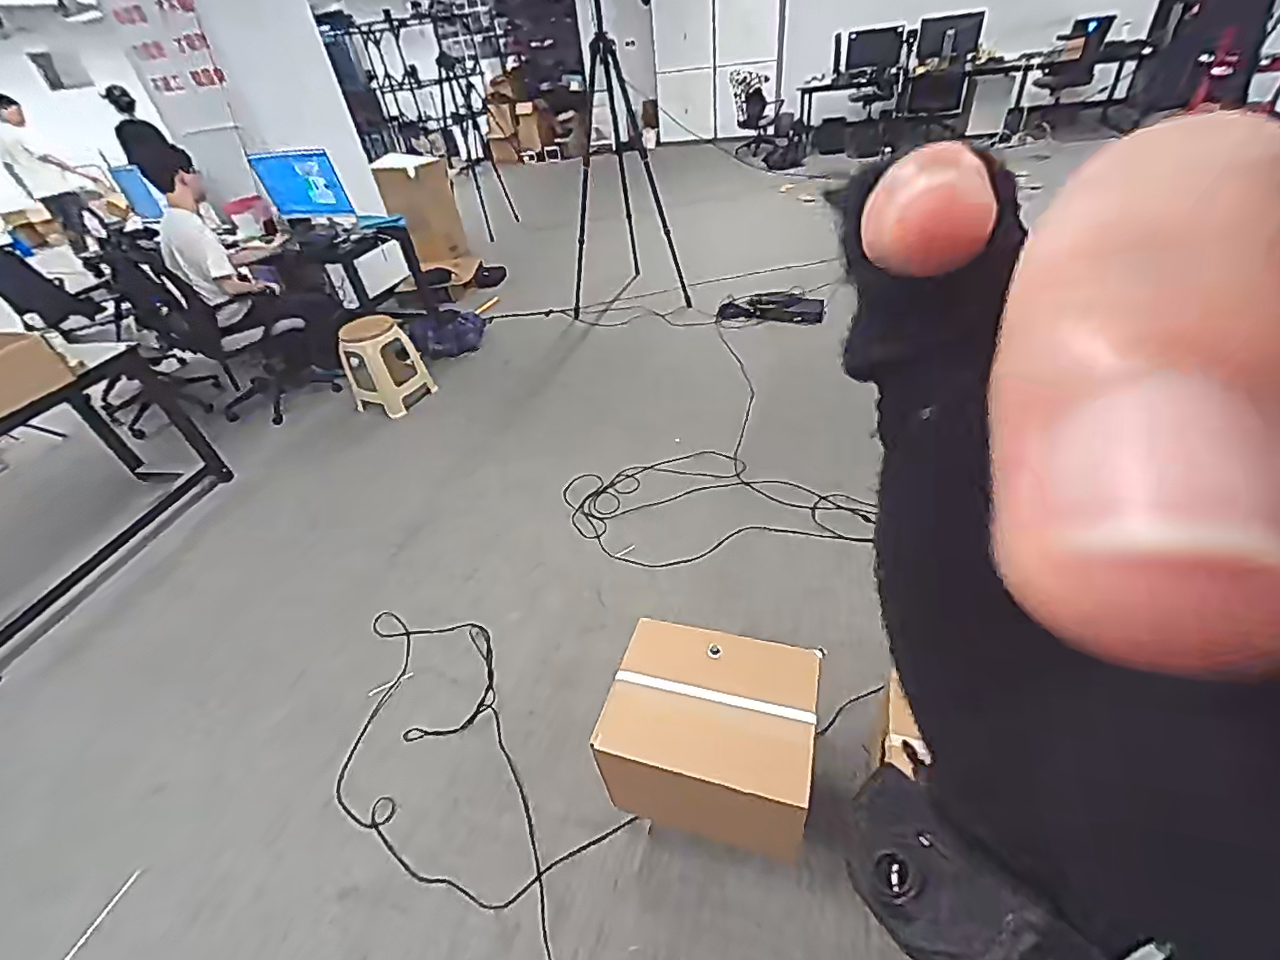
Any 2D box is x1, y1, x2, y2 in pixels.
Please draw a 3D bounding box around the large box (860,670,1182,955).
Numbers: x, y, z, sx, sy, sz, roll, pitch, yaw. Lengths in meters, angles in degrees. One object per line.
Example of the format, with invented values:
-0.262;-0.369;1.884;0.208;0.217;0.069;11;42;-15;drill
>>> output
0.661;0.620;1.033;0.408;0.320;0.320;8;42;20;large box
